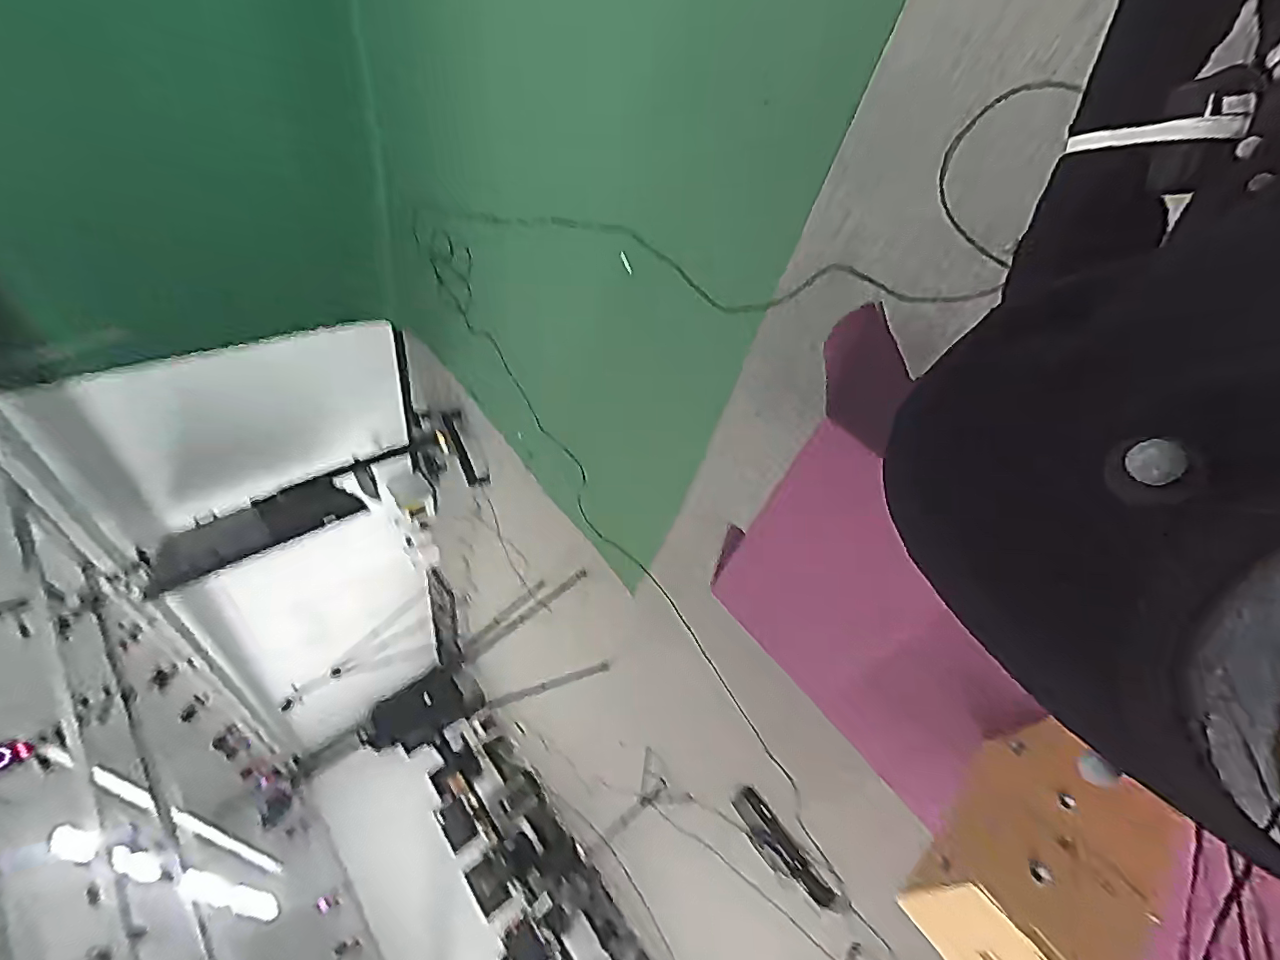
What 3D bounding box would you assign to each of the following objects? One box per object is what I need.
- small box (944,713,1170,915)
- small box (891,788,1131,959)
[{"bbox_3d":[0.596,0.478,0.779,0.179,0.176,0.168,48,143,23],"label":"small box"},{"bbox_3d":[0.471,0.532,0.691,0.168,0.176,0.179,48,144,25],"label":"small box"}]
